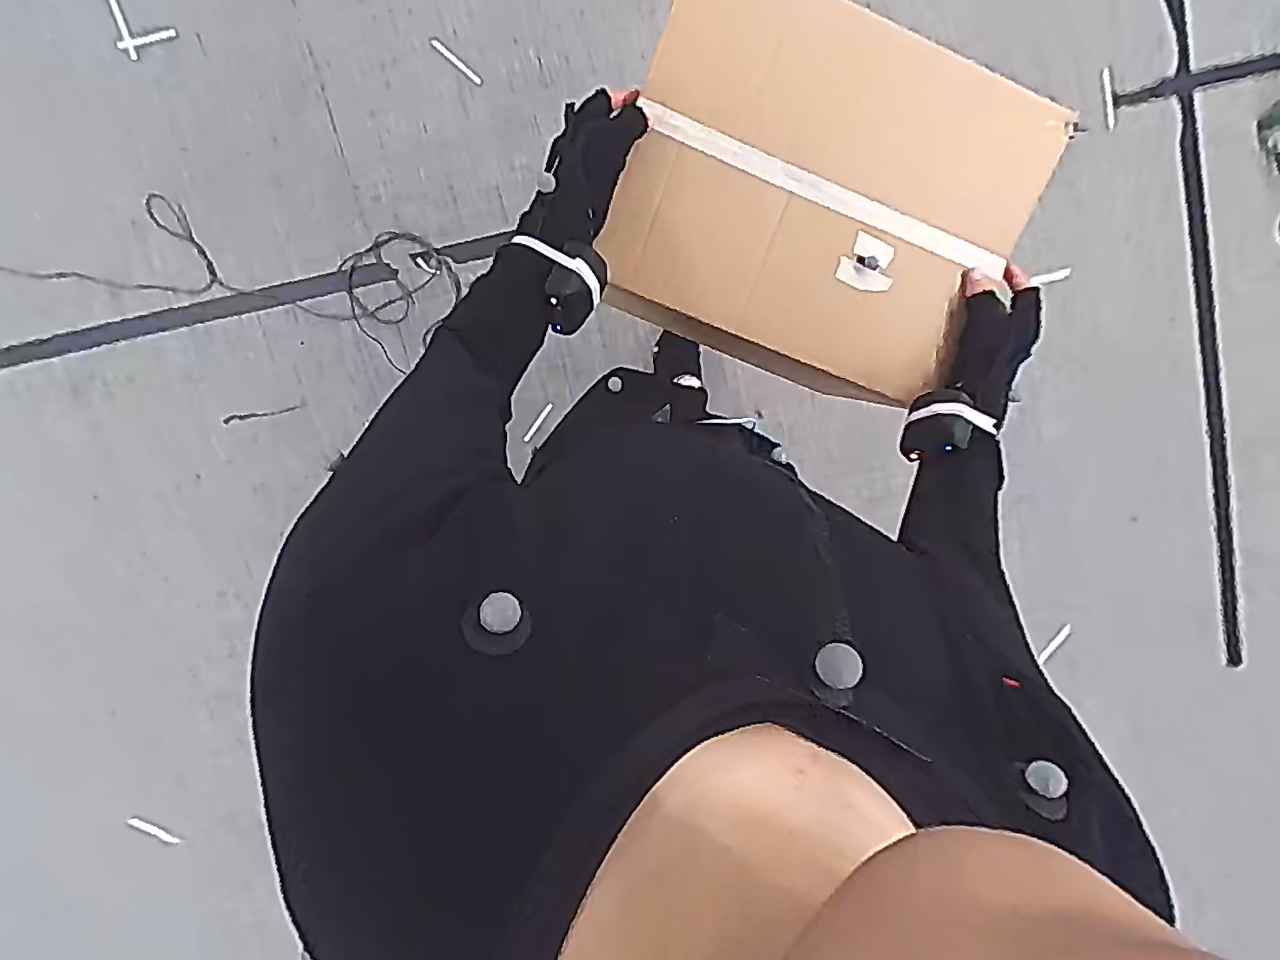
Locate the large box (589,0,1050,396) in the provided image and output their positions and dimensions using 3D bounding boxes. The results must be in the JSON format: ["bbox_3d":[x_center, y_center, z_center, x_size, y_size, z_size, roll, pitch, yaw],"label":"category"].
[{"bbox_3d":[0.173,-0.330,0.698,0.408,0.320,0.320,20,103,-7],"label":"large box"}]
